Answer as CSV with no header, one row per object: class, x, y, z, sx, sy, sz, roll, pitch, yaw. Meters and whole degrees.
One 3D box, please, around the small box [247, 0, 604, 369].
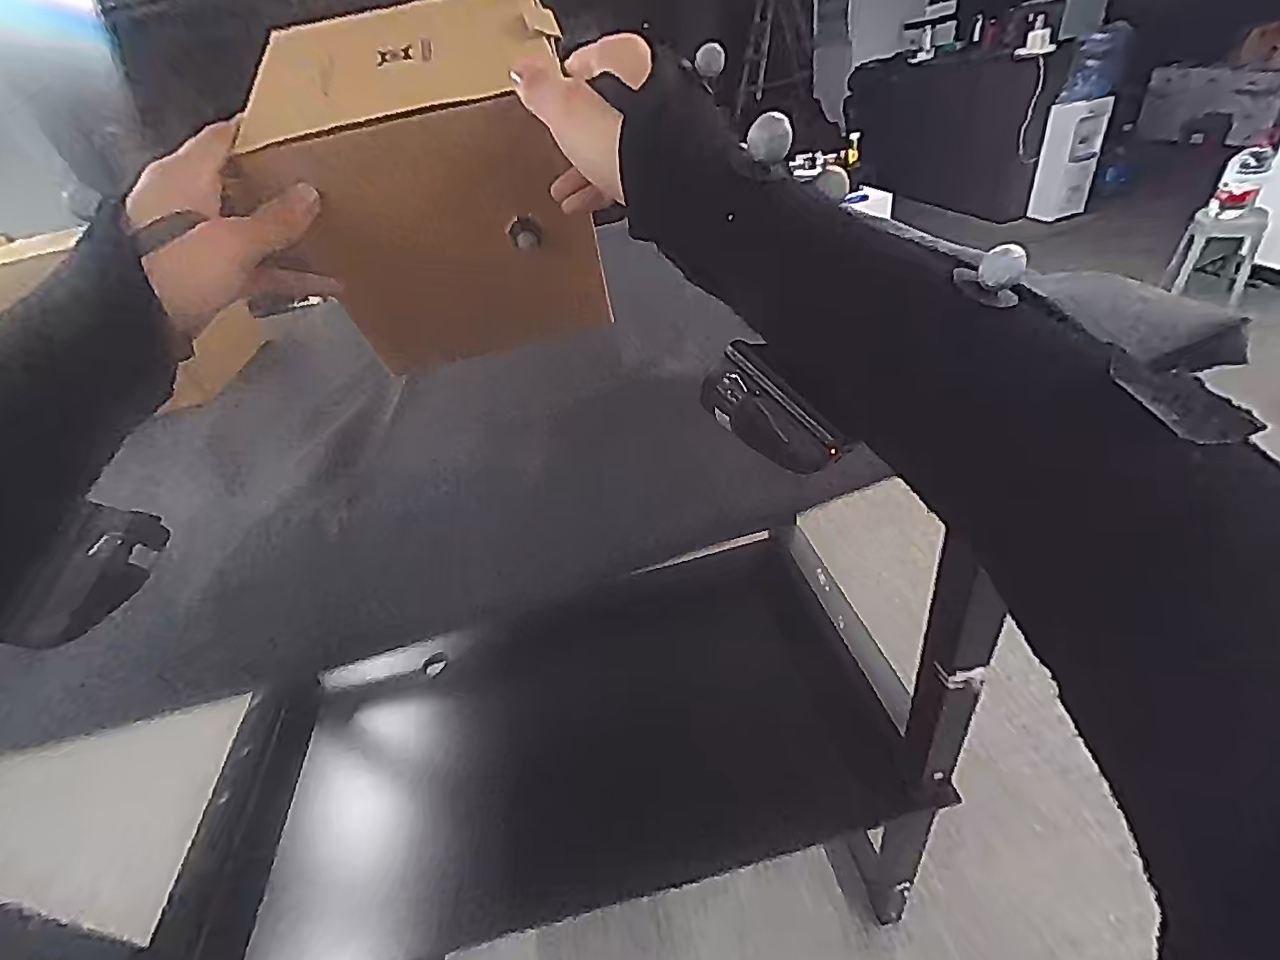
small box,-0.127,-0.207,0.389,0.179,0.176,0.168,-14,57,-2
